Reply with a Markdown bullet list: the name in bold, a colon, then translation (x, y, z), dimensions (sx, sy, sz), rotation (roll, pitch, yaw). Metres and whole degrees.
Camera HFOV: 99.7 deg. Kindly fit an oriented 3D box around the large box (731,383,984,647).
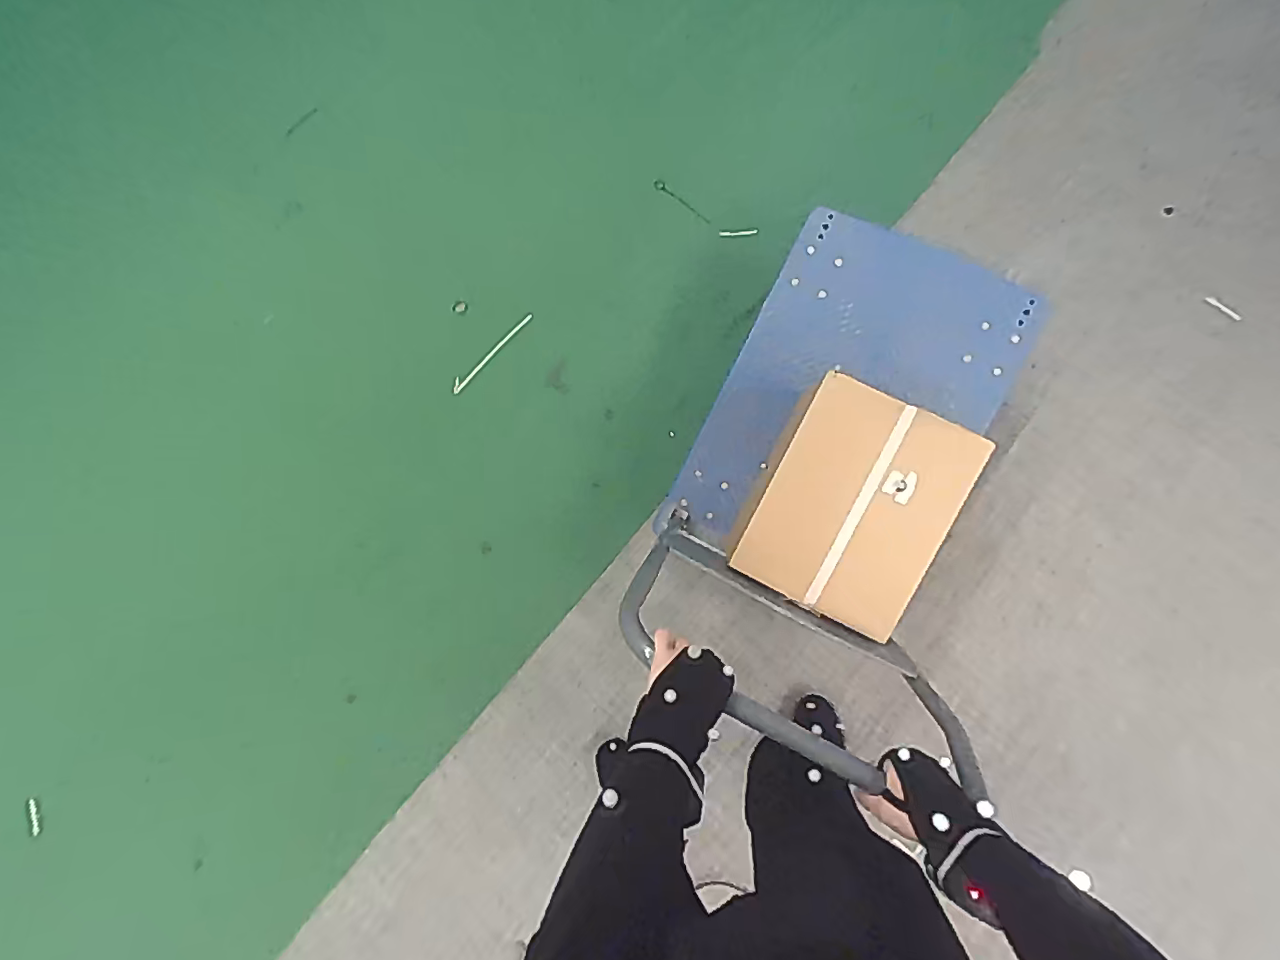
- **large box**: translation (0.413, 0.064, 1.135), dimensions (0.320, 0.320, 0.408), rotation (27, 94, 6)
